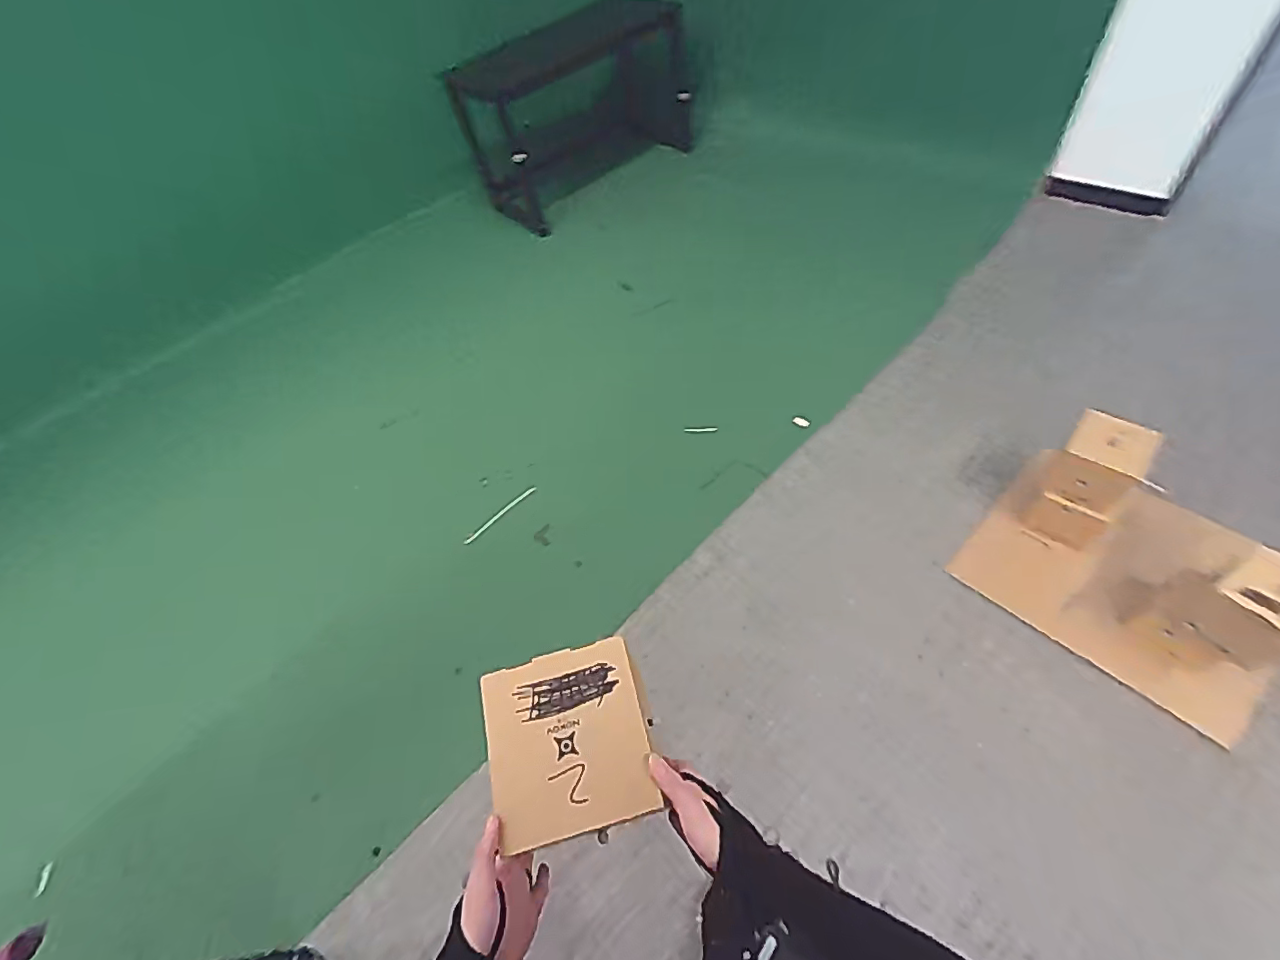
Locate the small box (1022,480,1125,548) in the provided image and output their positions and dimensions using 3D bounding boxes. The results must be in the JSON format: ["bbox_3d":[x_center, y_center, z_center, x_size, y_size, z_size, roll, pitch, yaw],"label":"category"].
[{"bbox_3d":[1.243,0.061,1.554,0.168,0.176,0.179,30,65,29],"label":"small box"}]

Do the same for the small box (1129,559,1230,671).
[{"bbox_3d":[1.362,0.335,1.325,0.179,0.176,0.168,-37,55,-15],"label":"small box"}]

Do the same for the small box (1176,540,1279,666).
[{"bbox_3d":[1.333,0.272,1.171,0.179,0.176,0.168,-33,55,-14],"label":"small box"}]

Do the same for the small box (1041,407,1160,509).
[{"bbox_3d":[1.212,-0.054,1.437,0.168,0.176,0.179,32,65,28],"label":"small box"}]
